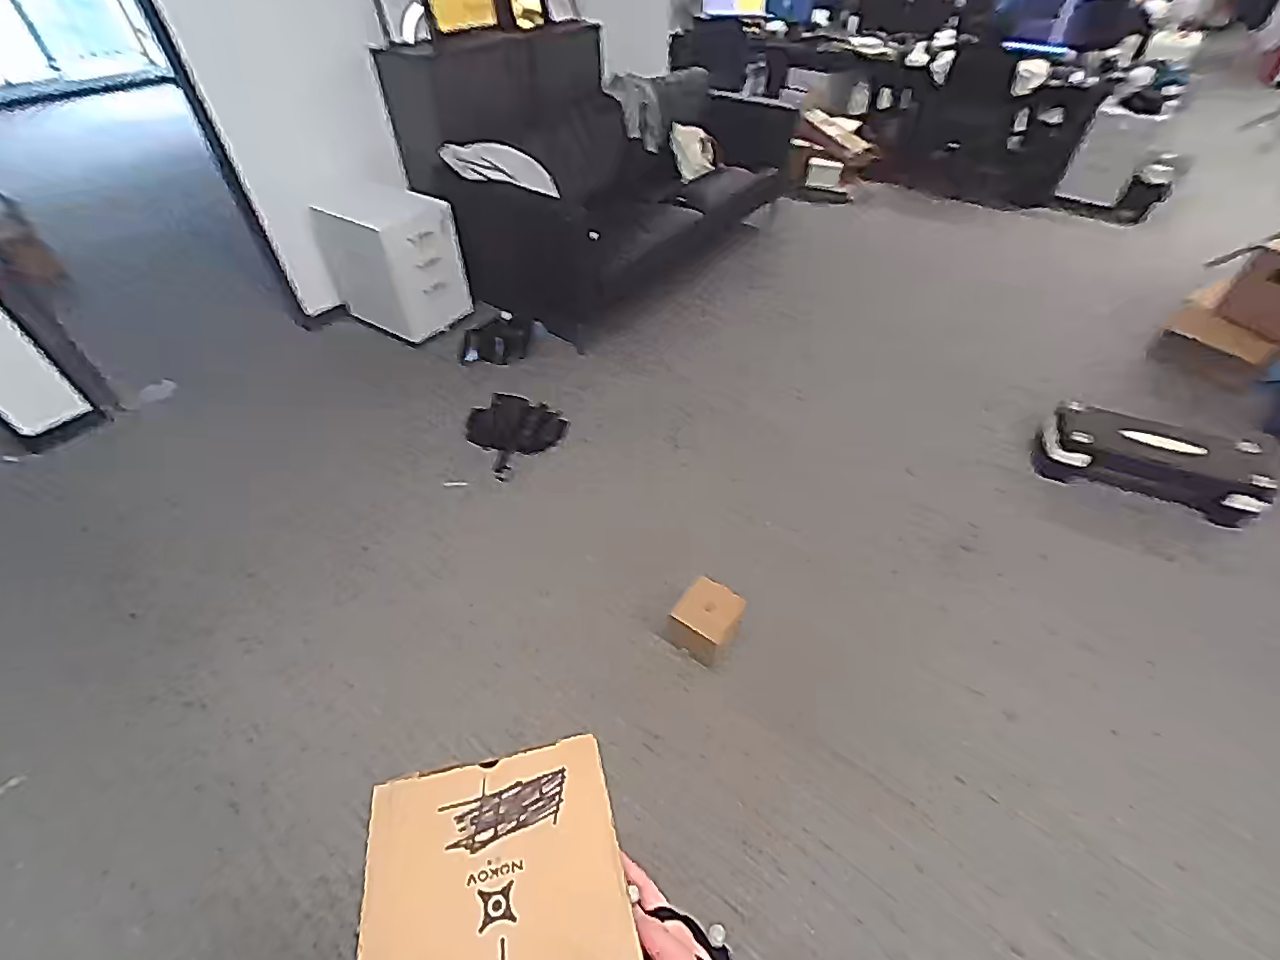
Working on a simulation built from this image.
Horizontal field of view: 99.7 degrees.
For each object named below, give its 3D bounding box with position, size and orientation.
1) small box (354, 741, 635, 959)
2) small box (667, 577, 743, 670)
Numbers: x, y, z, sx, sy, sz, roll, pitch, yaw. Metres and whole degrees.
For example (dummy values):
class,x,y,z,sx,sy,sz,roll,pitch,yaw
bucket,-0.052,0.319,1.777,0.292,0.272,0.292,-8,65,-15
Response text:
class,x,y,z,sx,sy,sz,roll,pitch,yaw
small box,-0.103,0.334,0.401,0.168,0.176,0.179,-7,40,-16
small box,0.189,0.435,1.634,0.168,0.176,0.179,28,53,25
